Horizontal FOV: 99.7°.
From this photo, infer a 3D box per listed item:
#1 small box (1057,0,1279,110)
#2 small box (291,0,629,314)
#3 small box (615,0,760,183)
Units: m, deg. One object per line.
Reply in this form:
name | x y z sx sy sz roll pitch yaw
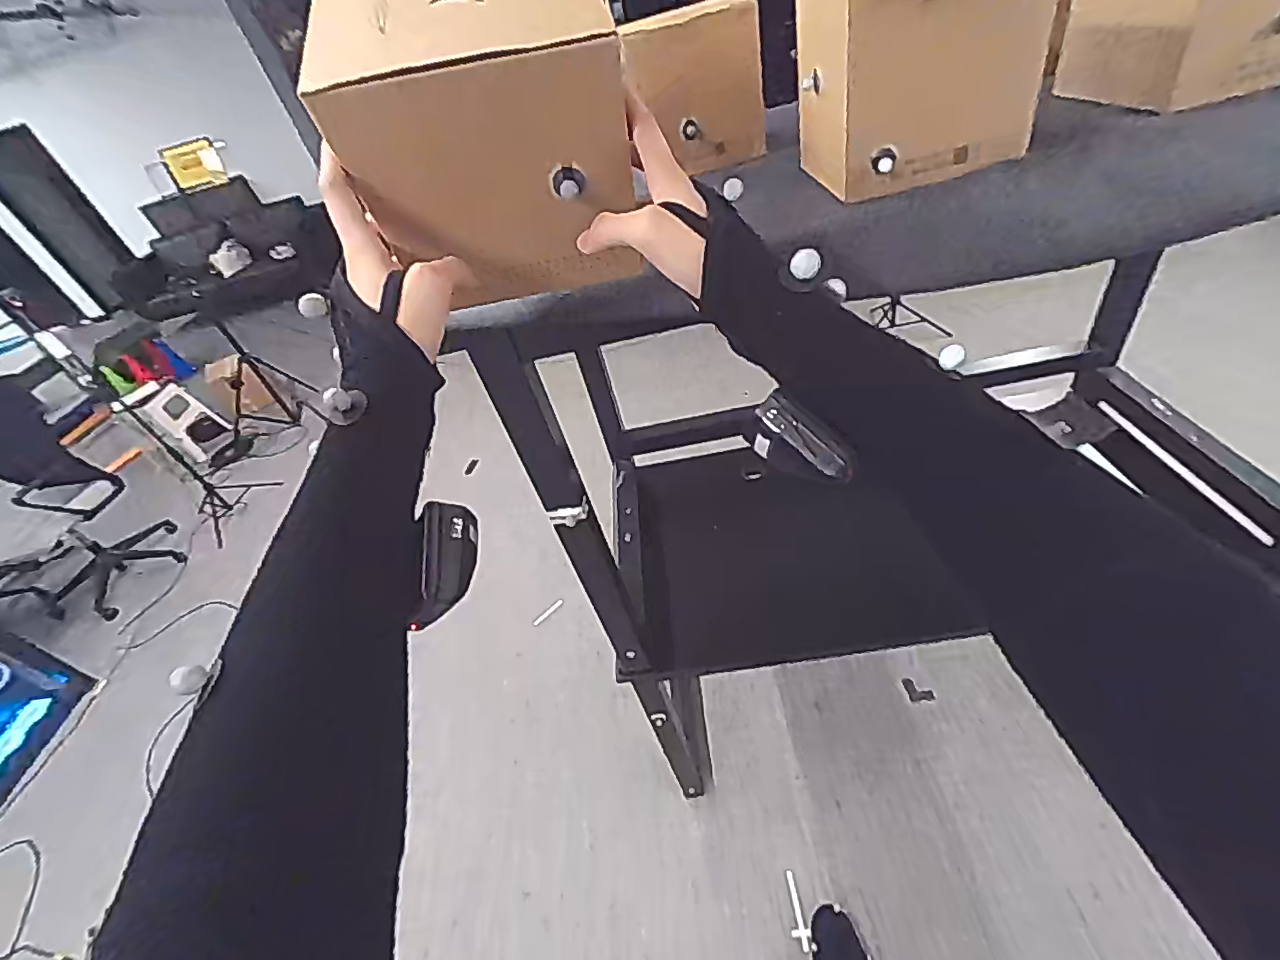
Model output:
small box | 0.552 -0.477 0.520 0.168 0.176 0.179 -11 40 7
small box | -0.105 -0.248 0.389 0.179 0.176 0.168 -11 63 -1
small box | 0.064 -0.531 0.745 0.168 0.176 0.179 -12 42 5
